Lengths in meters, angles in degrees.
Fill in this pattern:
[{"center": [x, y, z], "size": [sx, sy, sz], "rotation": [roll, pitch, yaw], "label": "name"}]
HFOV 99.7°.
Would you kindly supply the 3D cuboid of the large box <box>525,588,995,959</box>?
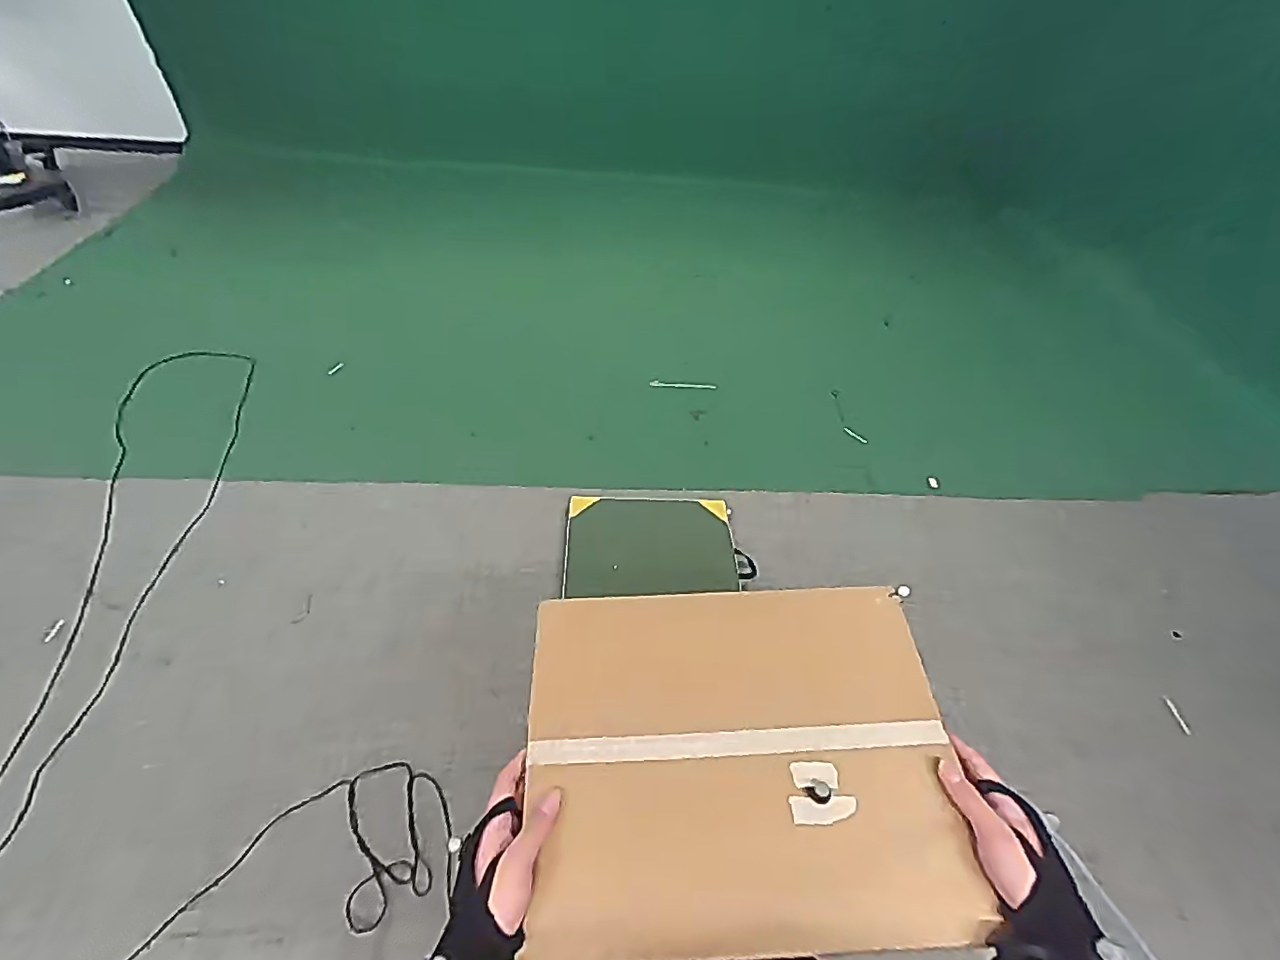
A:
[{"center": [0.093, 0.348, 0.652], "size": [0.408, 0.320, 0.320], "rotation": [-2, 53, -1], "label": "large box"}]
